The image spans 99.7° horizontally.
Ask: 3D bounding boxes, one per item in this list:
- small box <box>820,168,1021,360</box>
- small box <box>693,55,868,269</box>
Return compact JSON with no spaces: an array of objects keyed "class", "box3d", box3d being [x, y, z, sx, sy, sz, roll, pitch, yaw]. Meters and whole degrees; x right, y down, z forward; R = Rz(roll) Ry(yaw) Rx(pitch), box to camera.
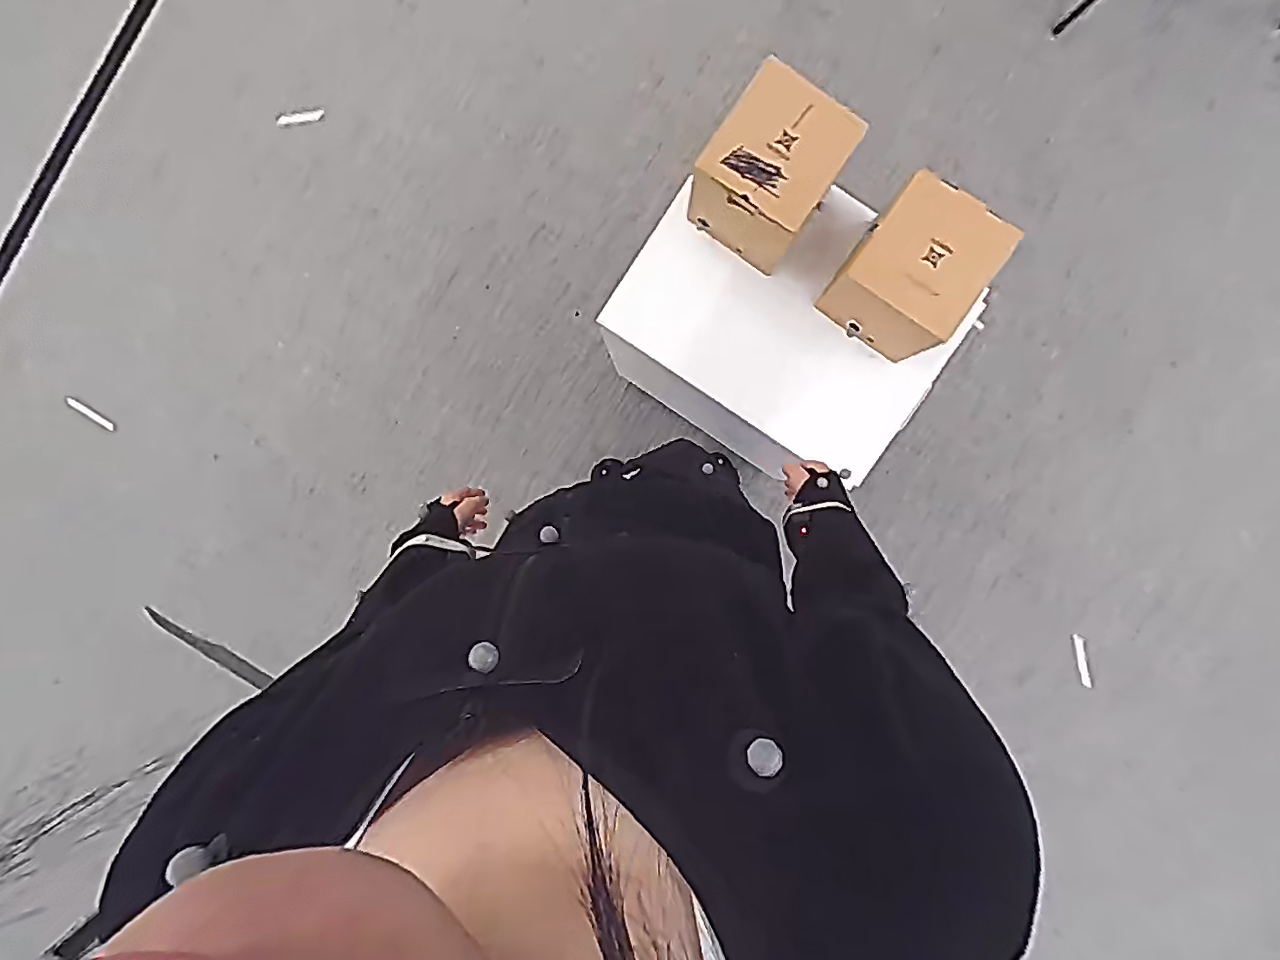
[{"class":"small box","box3d":[0.394,-0.303,0.799,0.168,0.176,0.179,34,94,1]},{"class":"small box","box3d":[0.190,-0.446,0.794,0.168,0.176,0.179,35,92,-1]}]
